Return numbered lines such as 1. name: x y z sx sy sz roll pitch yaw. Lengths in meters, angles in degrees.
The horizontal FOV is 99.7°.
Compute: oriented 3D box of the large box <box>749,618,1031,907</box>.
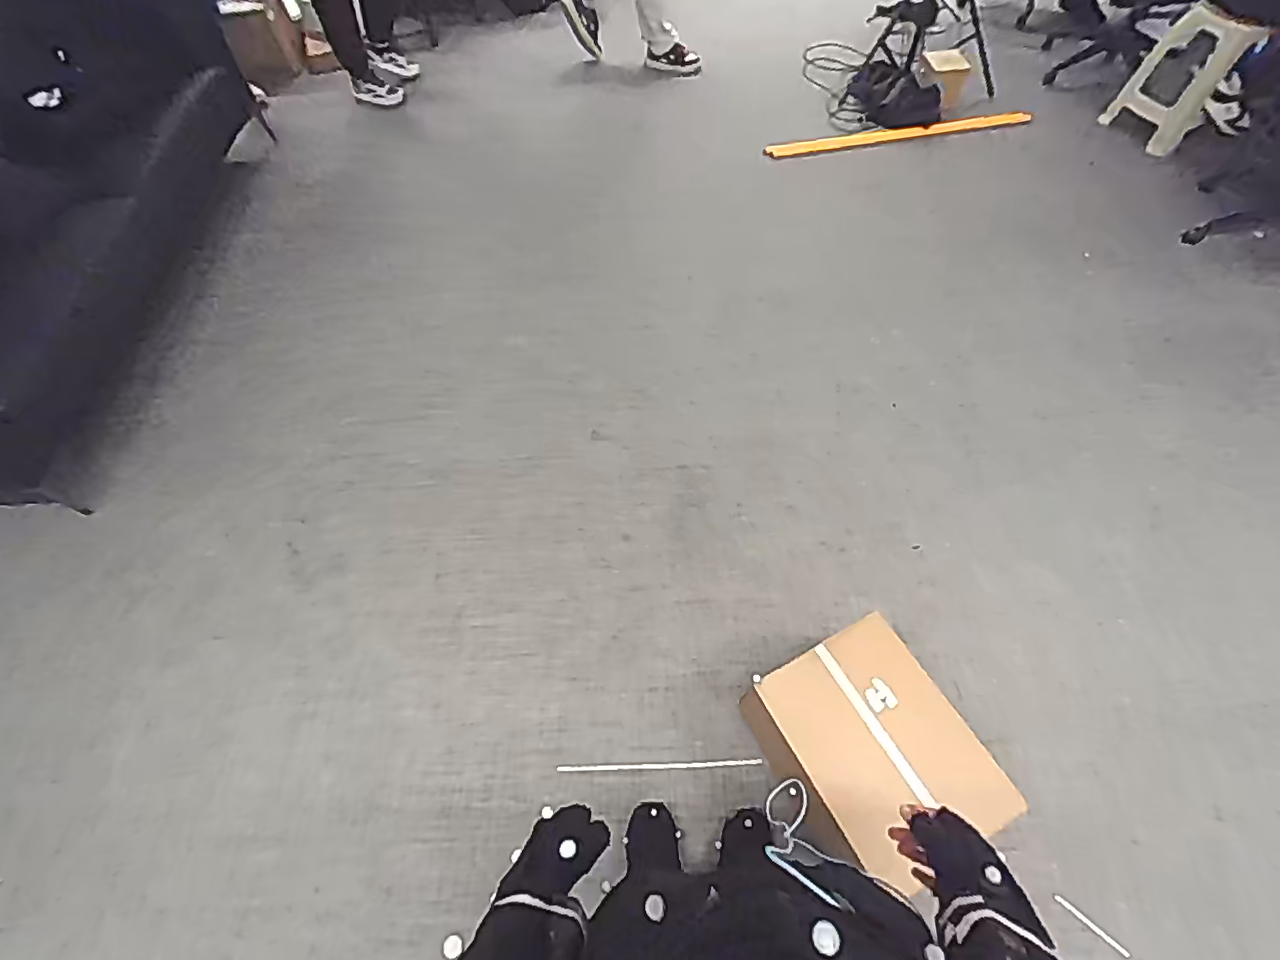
1. large box: 0.479 0.575 1.145 0.320 0.320 0.408 -26 61 -11
